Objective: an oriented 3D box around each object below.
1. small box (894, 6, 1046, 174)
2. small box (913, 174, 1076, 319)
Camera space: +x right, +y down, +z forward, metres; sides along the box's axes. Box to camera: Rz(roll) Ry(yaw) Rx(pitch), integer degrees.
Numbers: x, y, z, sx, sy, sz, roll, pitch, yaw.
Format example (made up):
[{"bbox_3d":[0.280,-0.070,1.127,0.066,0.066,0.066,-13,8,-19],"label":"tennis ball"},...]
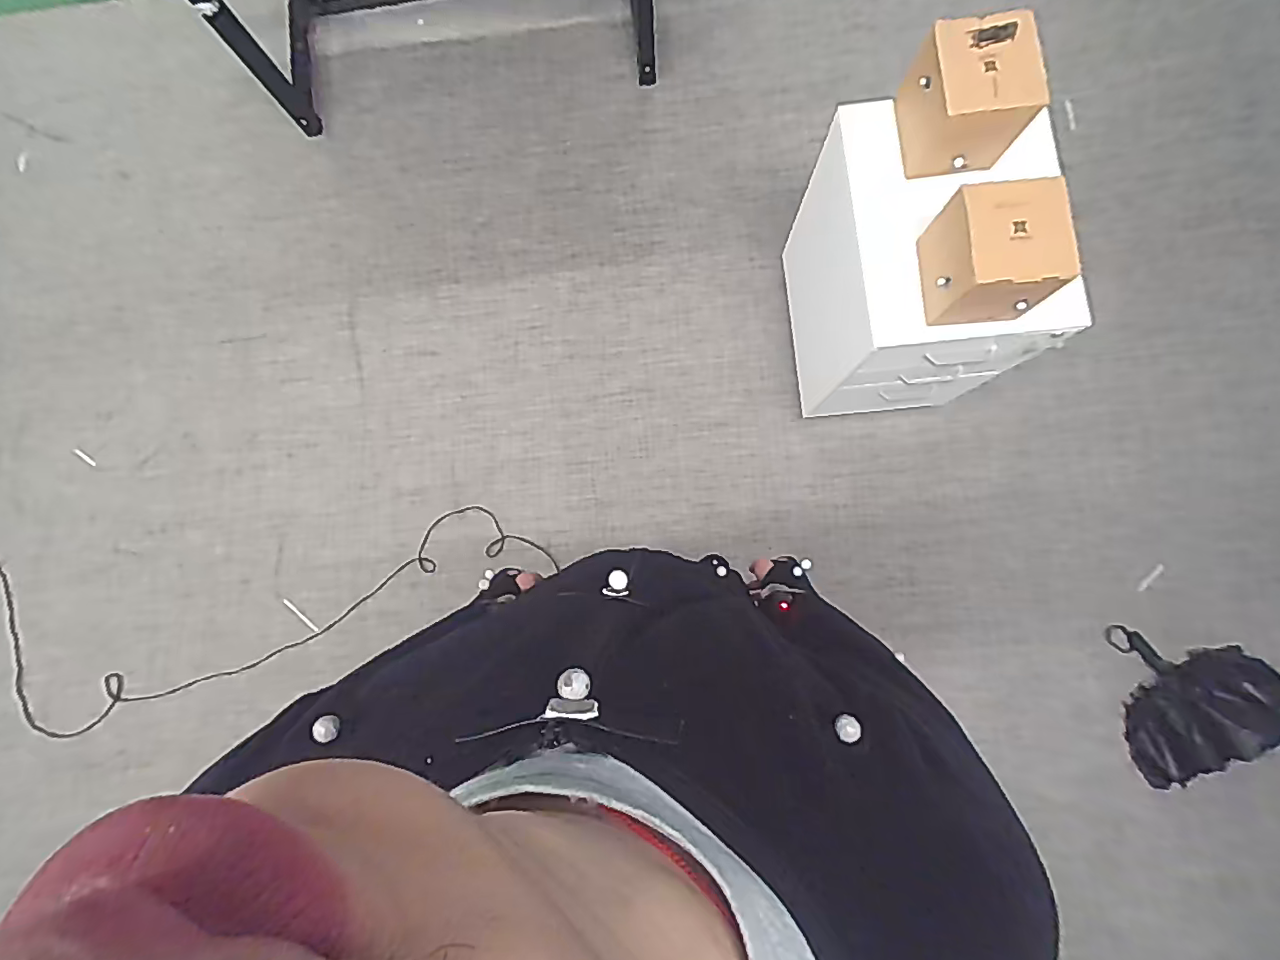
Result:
[{"bbox_3d":[0.580,-0.691,0.974,0.168,0.176,0.179,-6,85,2],"label":"small box"},{"bbox_3d":[0.604,-0.394,0.943,0.168,0.176,0.179,-4,82,1],"label":"small box"}]
